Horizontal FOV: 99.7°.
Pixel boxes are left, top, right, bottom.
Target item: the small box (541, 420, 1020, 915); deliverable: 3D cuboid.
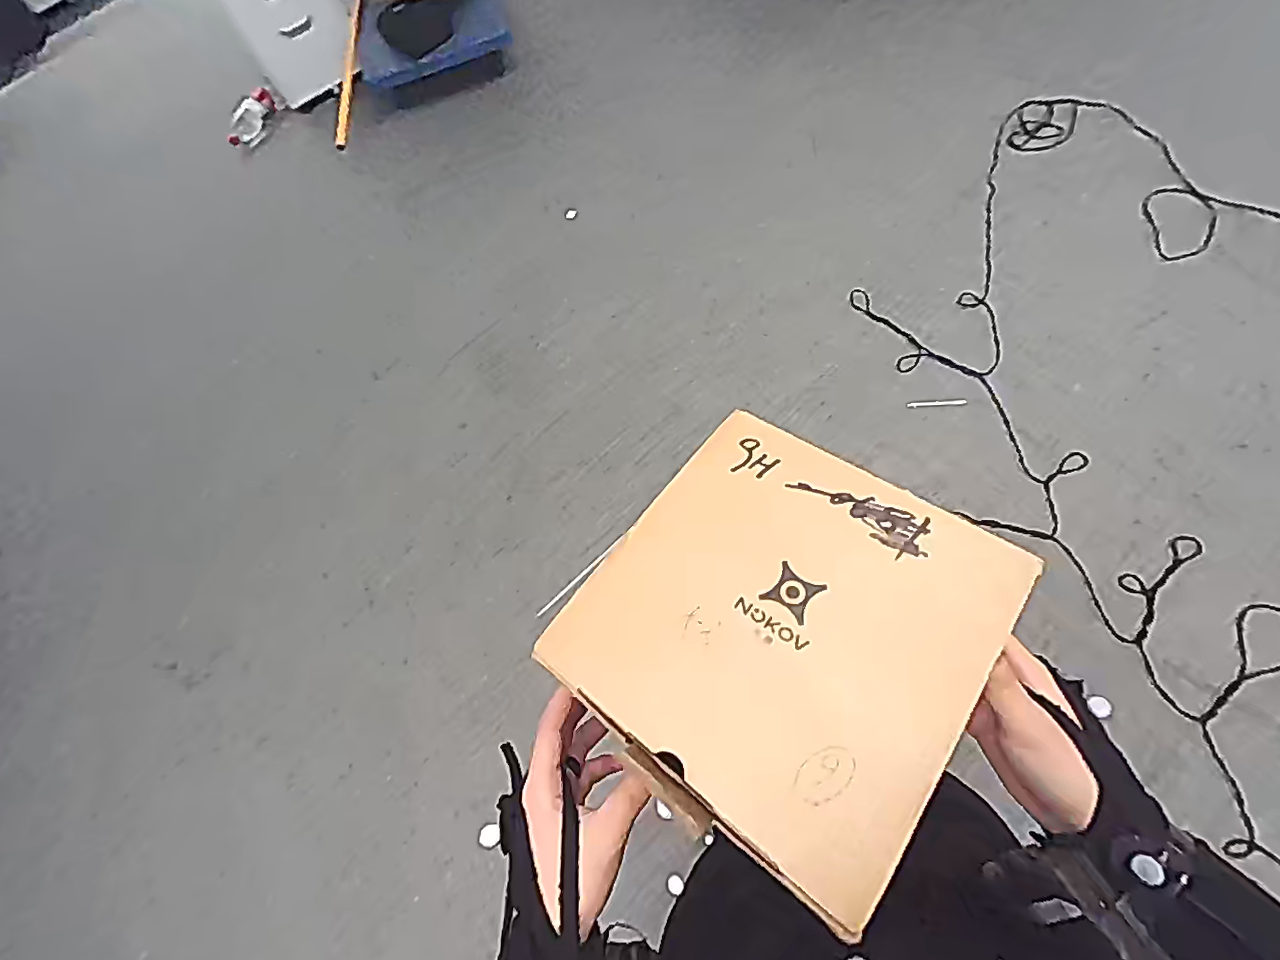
[{"bbox_3d":[0.076,0.104,0.327,0.168,0.176,0.179,32,68,25],"label":"small box"}]
